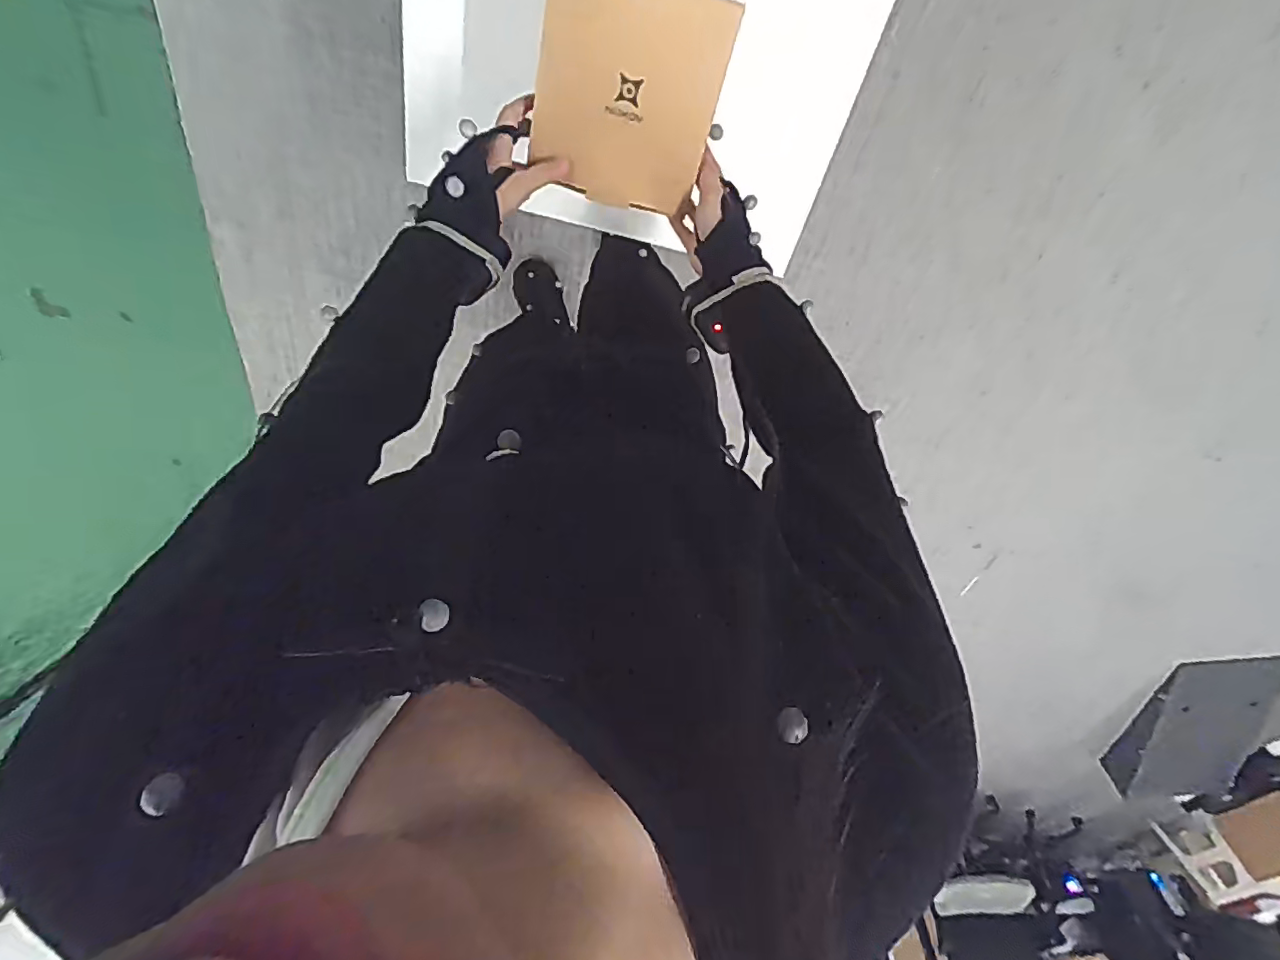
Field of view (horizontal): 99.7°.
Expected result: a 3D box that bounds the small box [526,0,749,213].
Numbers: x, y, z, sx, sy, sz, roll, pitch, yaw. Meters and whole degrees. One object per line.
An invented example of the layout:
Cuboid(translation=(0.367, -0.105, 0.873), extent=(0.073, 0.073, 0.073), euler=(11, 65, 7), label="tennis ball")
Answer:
Cuboid(translation=(-0.009, -0.399, 0.541), extent=(0.168, 0.176, 0.179), euler=(12, 127, -9), label="small box")
